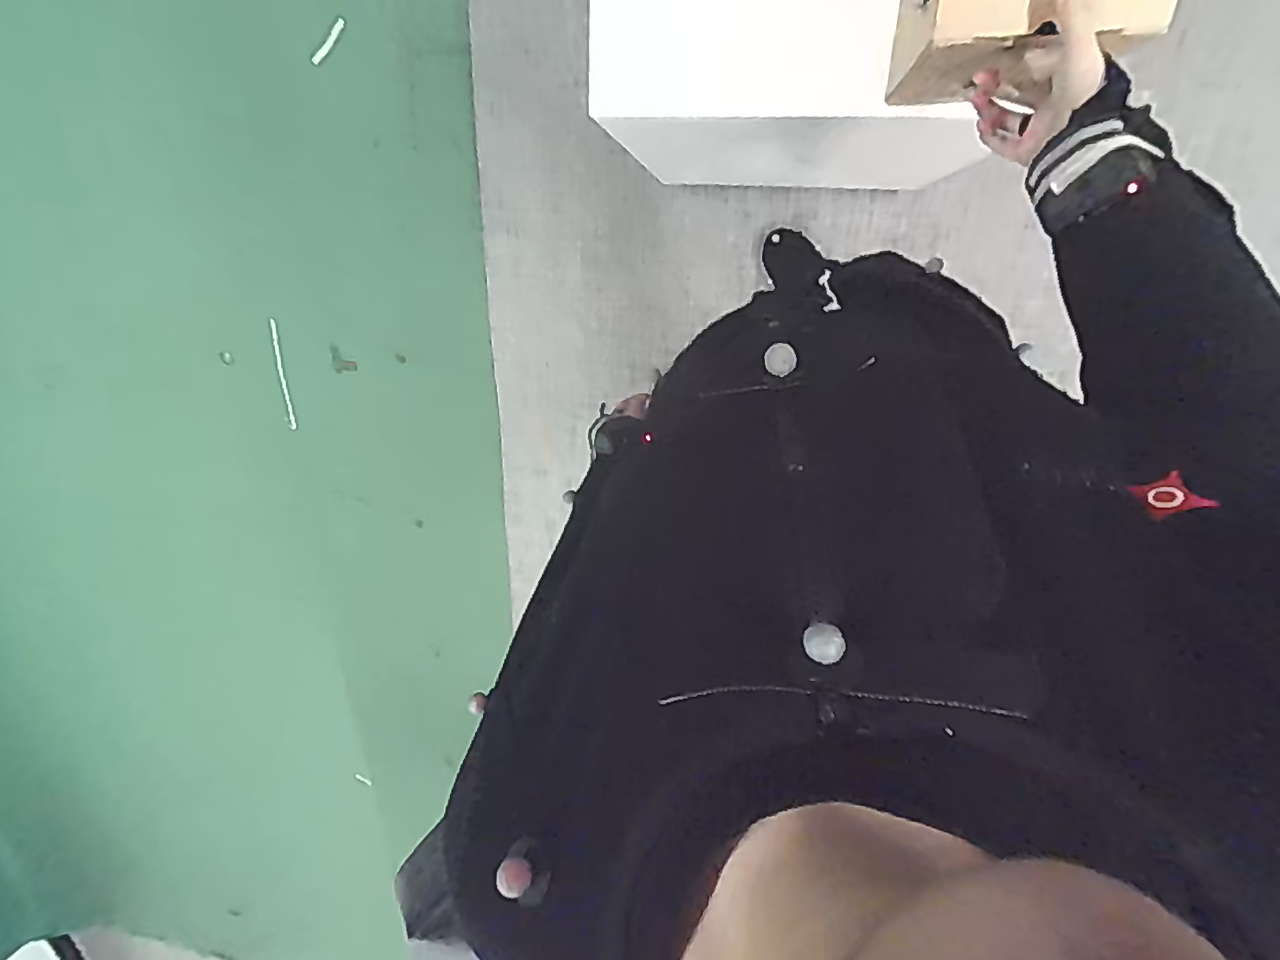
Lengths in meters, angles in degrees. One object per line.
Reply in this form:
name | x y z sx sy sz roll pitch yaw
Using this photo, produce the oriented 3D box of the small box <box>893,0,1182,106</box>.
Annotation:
small box | 0.329 -0.444 0.455 0.168 0.176 0.179 5 111 10
